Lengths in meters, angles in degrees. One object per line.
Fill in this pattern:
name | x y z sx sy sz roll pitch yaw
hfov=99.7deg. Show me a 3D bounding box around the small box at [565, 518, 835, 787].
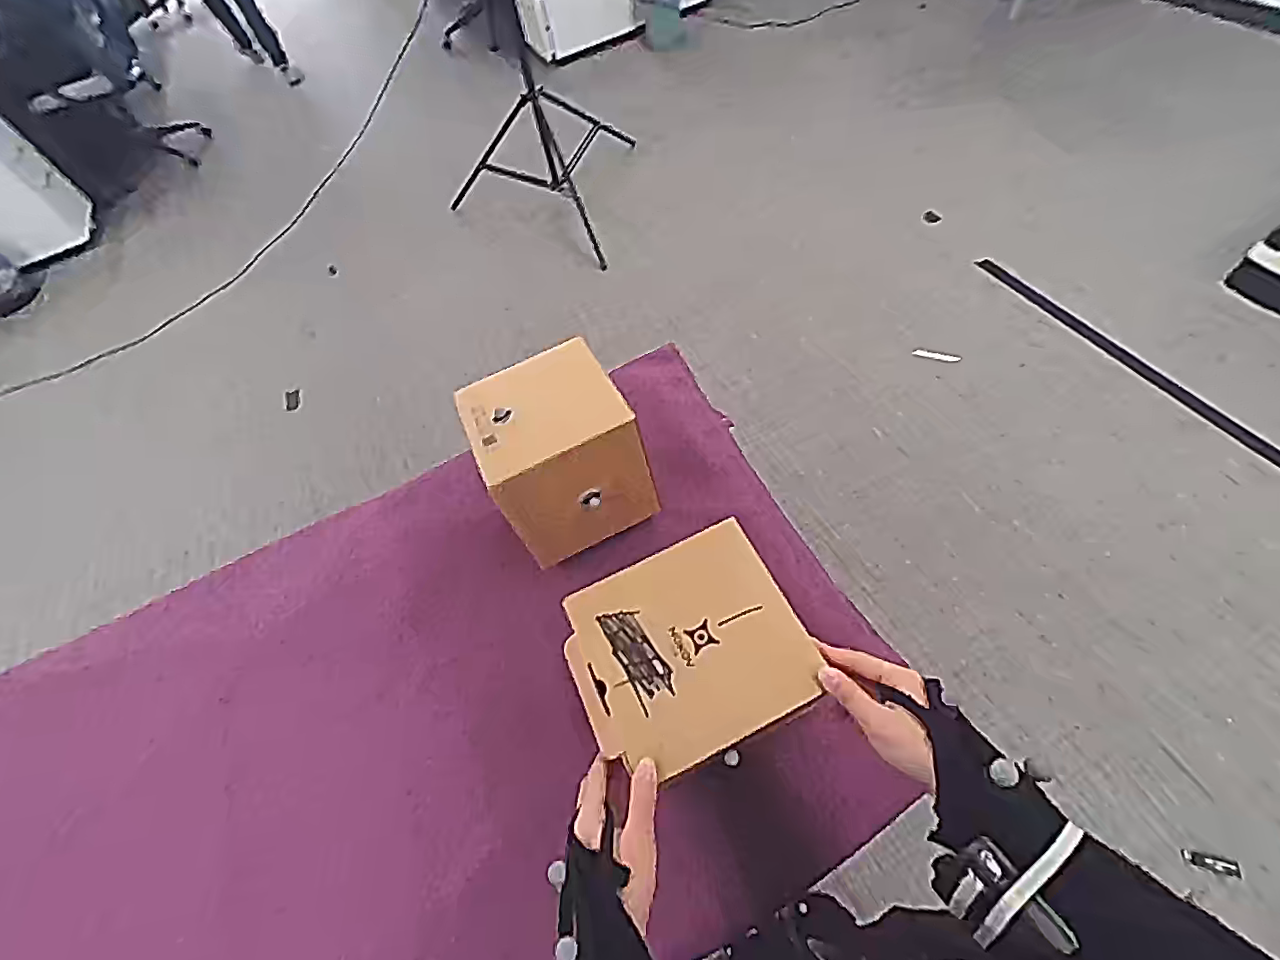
small box | 0.053 0.171 0.515 0.179 0.176 0.168 -25 61 -6
